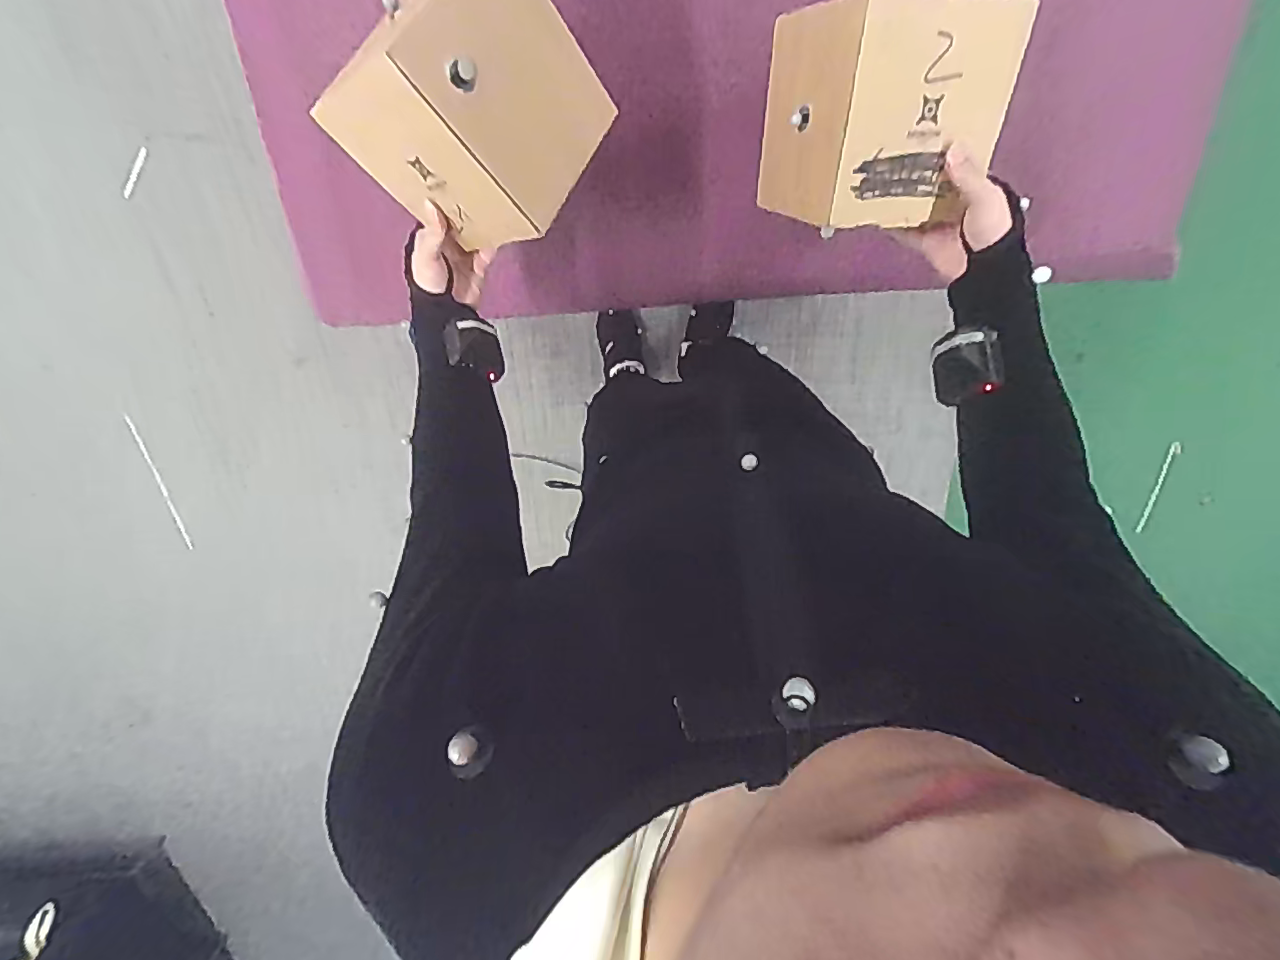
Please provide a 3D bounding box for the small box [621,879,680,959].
[{"bbox_3d":[0.030,1.386,1.692,0.168,0.176,0.179,5,116,-2],"label":"small box"}]

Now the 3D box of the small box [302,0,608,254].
[{"bbox_3d":[-0.163,-0.348,0.509,0.179,0.168,0.176,41,70,-46],"label":"small box"}]
